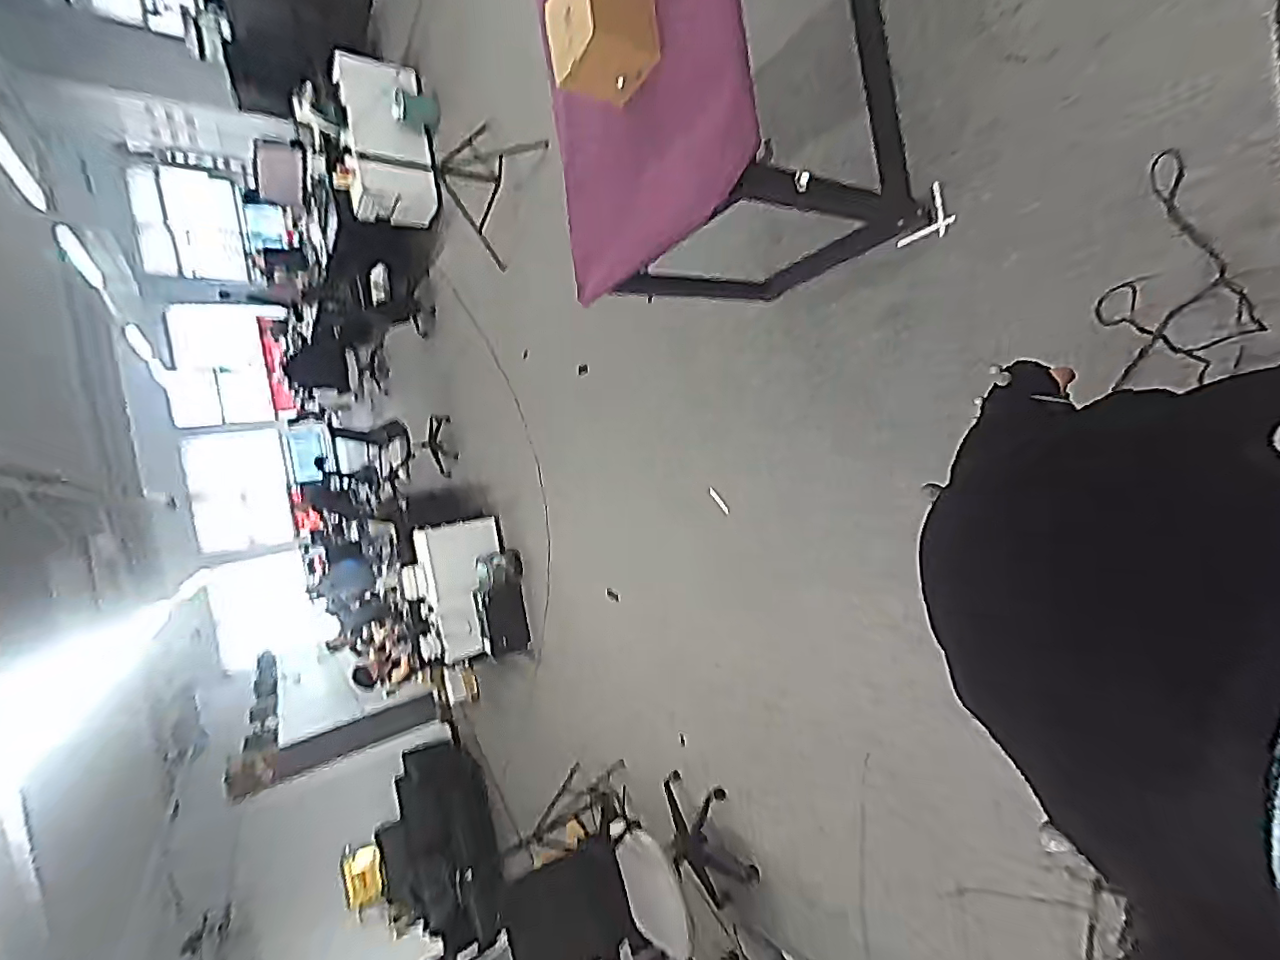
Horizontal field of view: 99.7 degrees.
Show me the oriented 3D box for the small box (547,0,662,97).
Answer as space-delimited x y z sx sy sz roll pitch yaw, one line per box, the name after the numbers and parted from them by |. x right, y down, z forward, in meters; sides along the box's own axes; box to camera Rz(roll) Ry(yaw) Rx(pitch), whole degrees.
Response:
-0.073 -0.953 1.133 0.168 0.176 0.179 -4 96 56 | small box
